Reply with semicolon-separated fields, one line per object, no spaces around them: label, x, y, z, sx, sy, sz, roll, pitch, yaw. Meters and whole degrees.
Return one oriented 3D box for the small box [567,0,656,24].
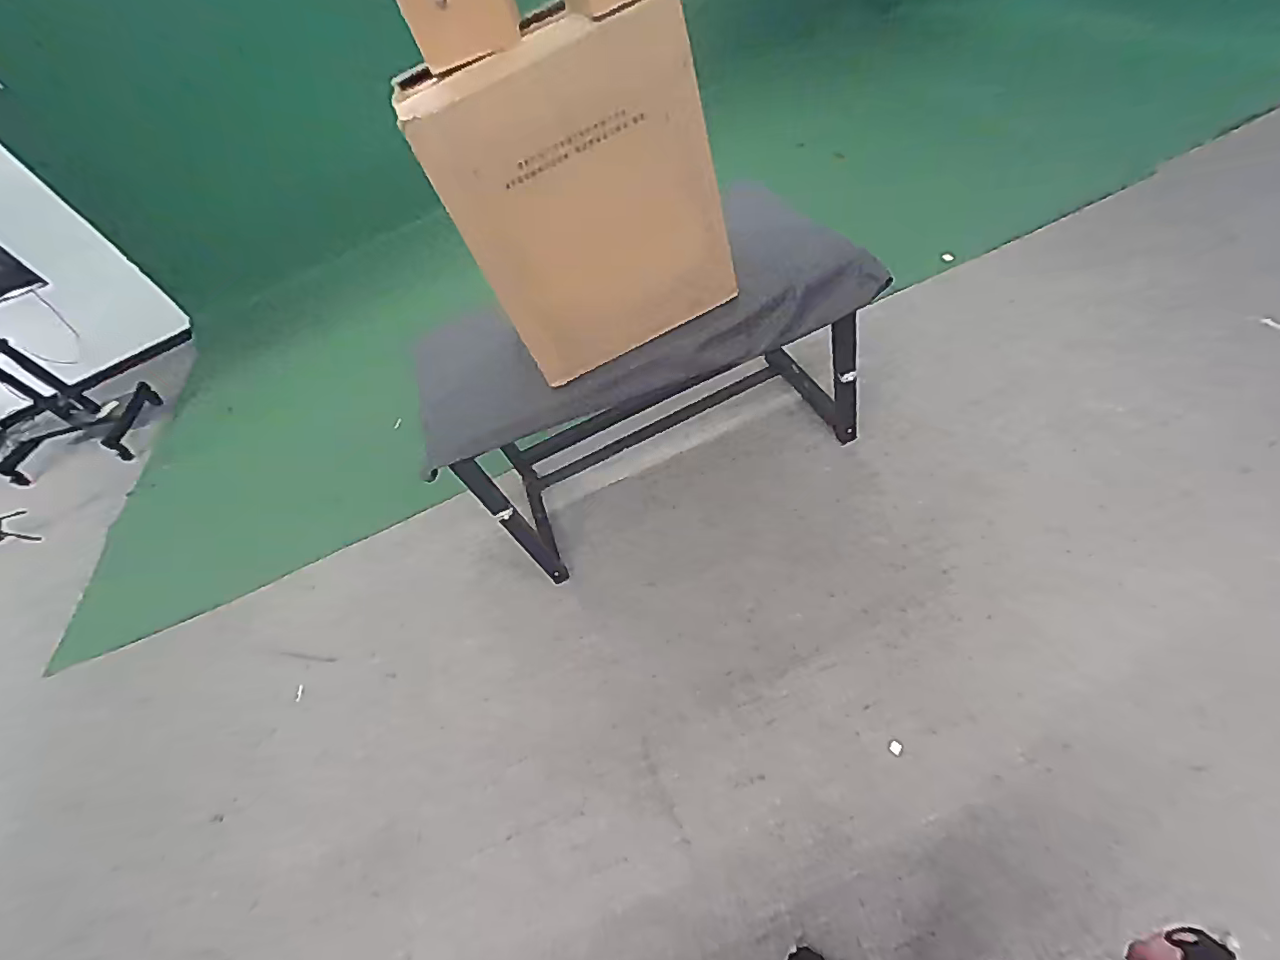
small box;-0.053;-0.908;0.913;0.168;0.176;0.179;-27;49;-1

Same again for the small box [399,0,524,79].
small box;-0.324;-0.862;0.967;0.179;0.176;0.168;-16;57;8
